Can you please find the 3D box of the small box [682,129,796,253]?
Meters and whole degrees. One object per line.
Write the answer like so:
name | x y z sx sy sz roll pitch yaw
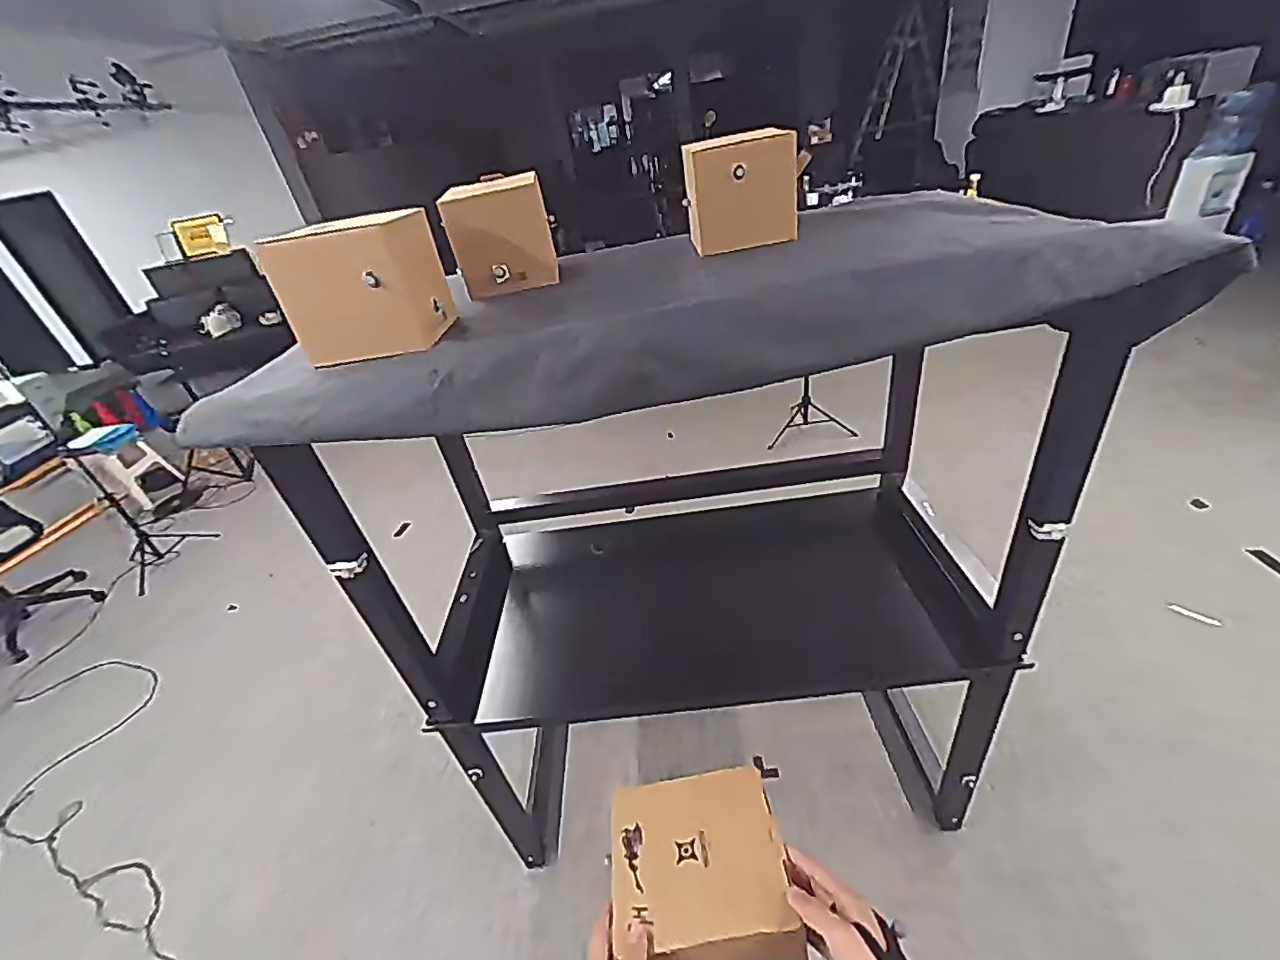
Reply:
small box | 0.179 -0.526 0.987 0.179 0.176 0.168 -8 35 4

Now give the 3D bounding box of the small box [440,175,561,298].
small box | -0.247 -0.450 1.000 0.168 0.176 0.179 -13 34 -1

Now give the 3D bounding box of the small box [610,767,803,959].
small box | 0.069 0.450 0.586 0.179 0.176 0.168 -10 23 2
